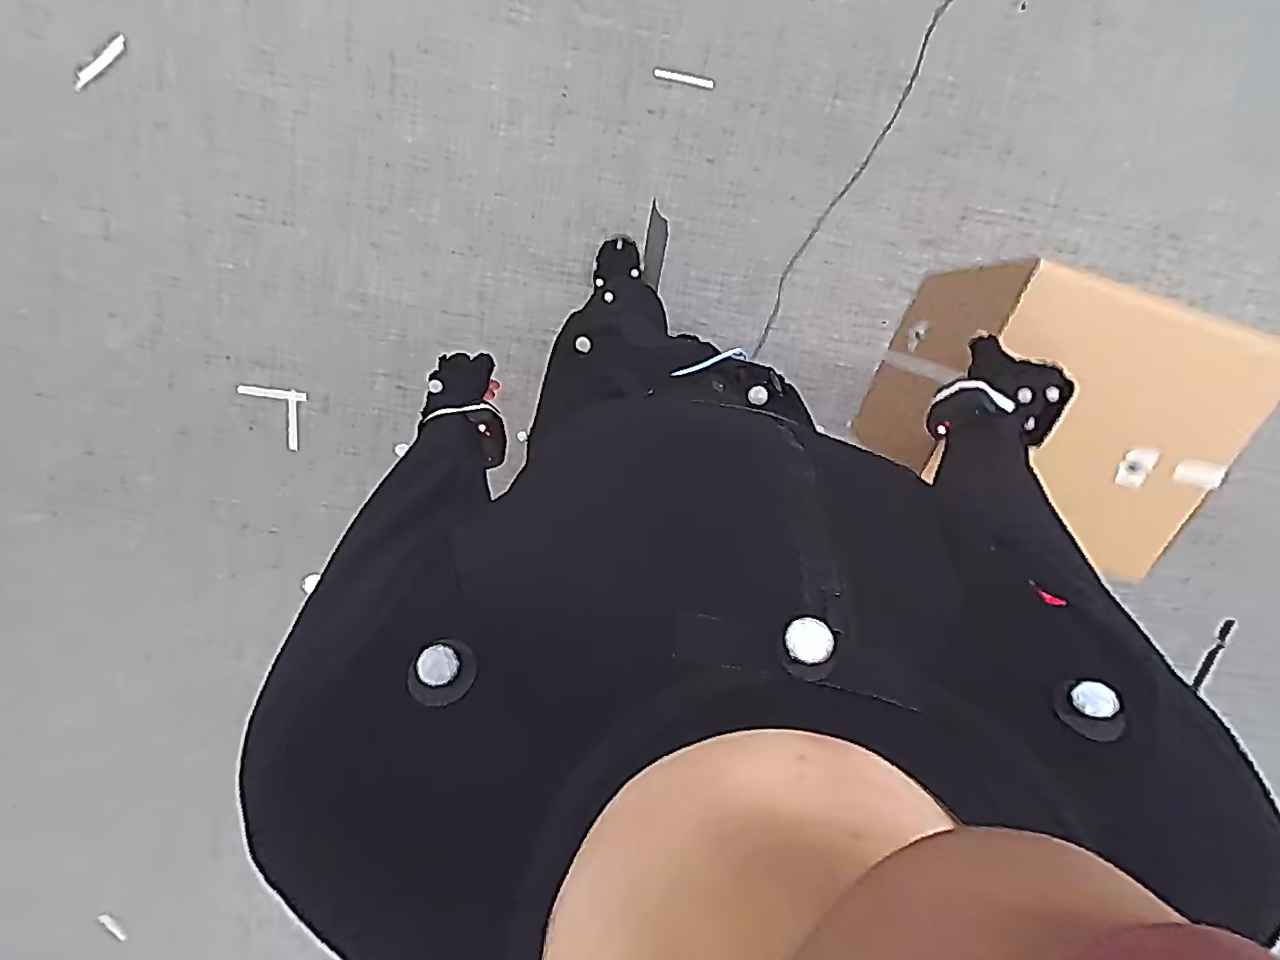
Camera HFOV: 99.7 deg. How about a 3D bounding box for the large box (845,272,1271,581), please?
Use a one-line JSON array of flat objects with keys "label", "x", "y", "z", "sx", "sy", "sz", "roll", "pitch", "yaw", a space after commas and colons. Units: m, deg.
[{"label": "large box", "x": 0.569, "y": -0.103, "z": 0.851, "sx": 0.320, "sy": 0.408, "sz": 0.320, "roll": 24, "pitch": 110, "yaw": 4}]
